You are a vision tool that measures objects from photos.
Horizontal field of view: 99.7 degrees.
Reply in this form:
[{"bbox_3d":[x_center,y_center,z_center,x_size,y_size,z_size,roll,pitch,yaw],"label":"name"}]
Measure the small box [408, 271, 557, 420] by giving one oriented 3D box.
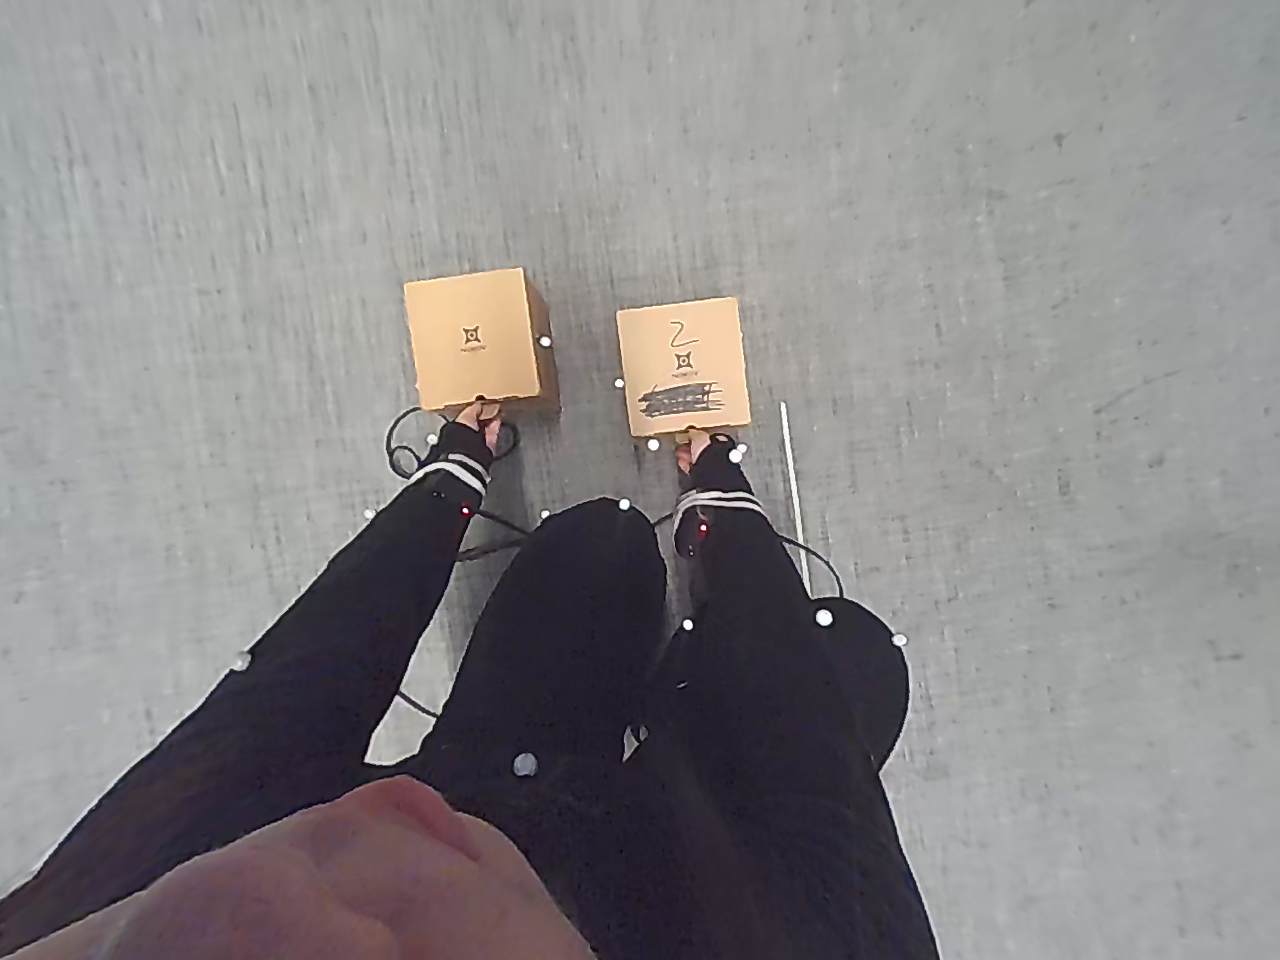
[{"bbox_3d":[-0.227,-0.192,0.818,0.168,0.176,0.179,-7,92,1],"label":"small box"}]
